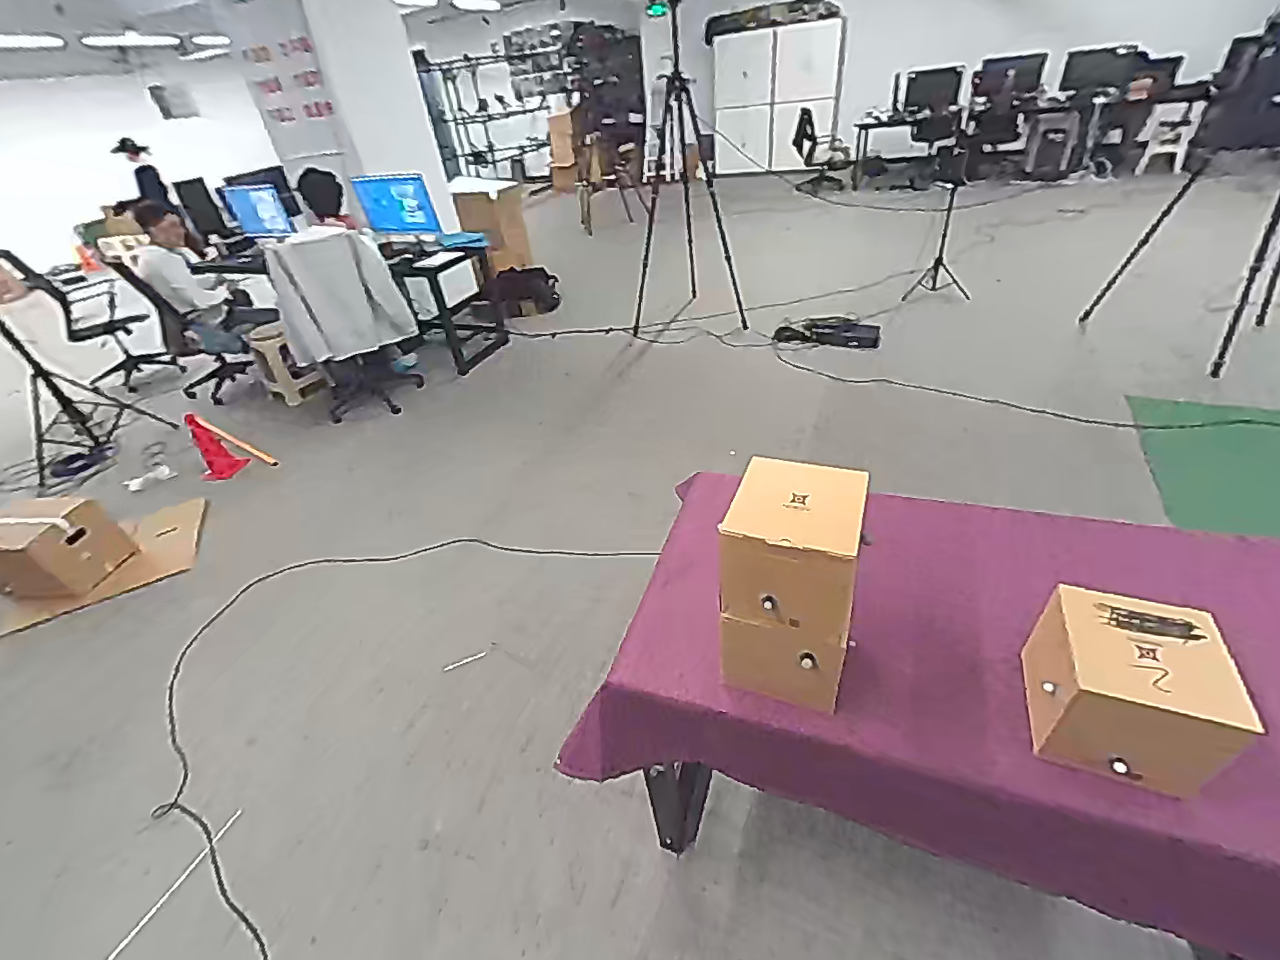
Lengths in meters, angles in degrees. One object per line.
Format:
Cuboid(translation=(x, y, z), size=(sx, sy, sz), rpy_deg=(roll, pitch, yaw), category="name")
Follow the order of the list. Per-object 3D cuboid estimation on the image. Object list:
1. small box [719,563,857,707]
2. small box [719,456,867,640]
Cuboid(translation=(0.233, 0.228, 0.853), size=(0.179, 0.176, 0.168), rpy_deg=(8, 39, 22), category="small box")
Cuboid(translation=(0.214, 0.092, 0.764), size=(0.168, 0.176, 0.179), rpy_deg=(9, 41, 22), category="small box")
